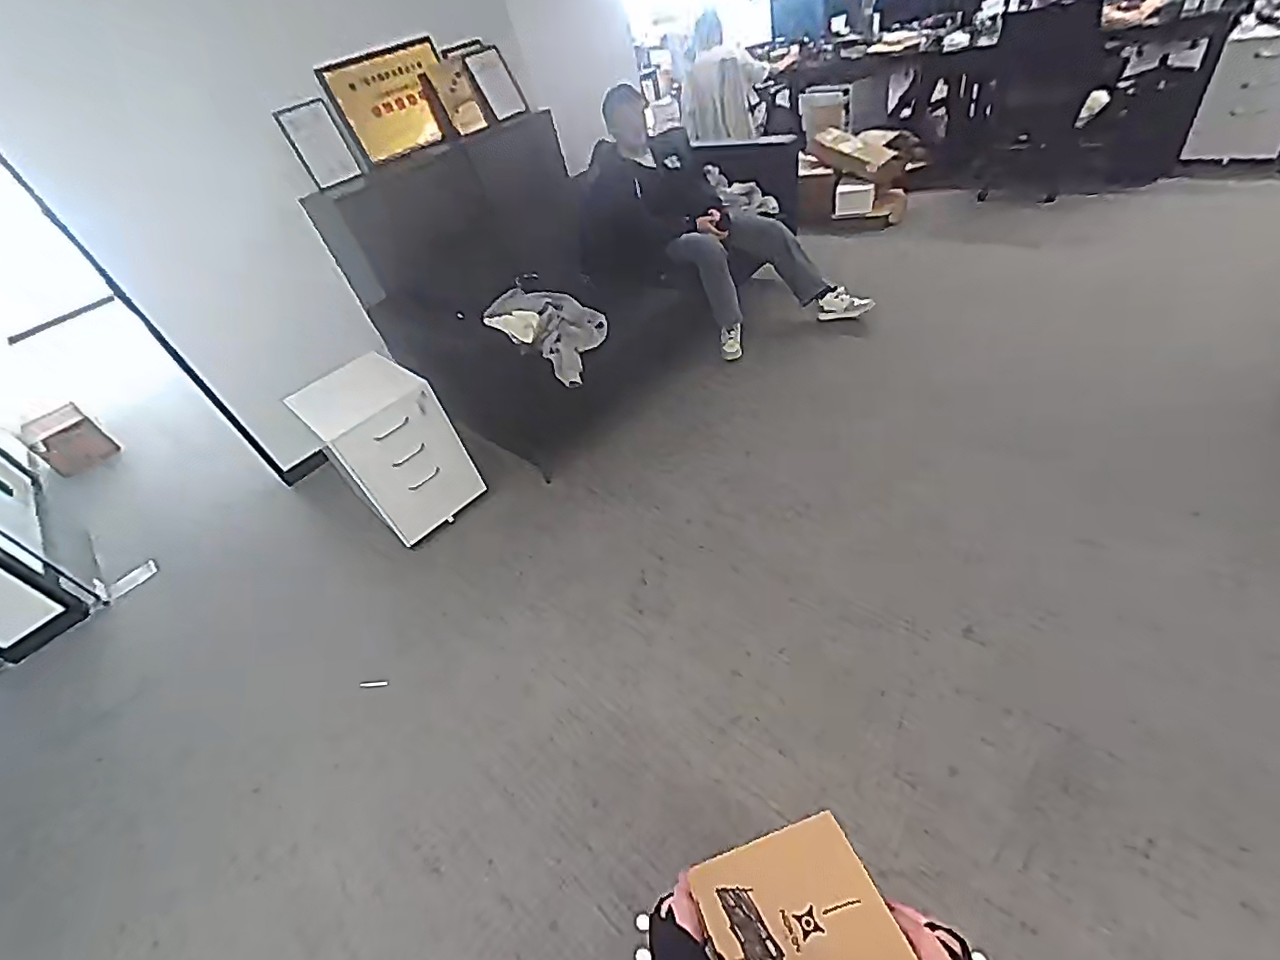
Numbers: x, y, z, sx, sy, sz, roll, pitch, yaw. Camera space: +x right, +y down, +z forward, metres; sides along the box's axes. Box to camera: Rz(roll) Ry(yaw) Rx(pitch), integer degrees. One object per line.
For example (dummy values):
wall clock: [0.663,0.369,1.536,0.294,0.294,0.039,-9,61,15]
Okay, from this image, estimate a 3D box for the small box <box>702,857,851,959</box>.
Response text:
small box: [0.232,0.796,0.914,0.168,0.176,0.179,-31,41,-19]
